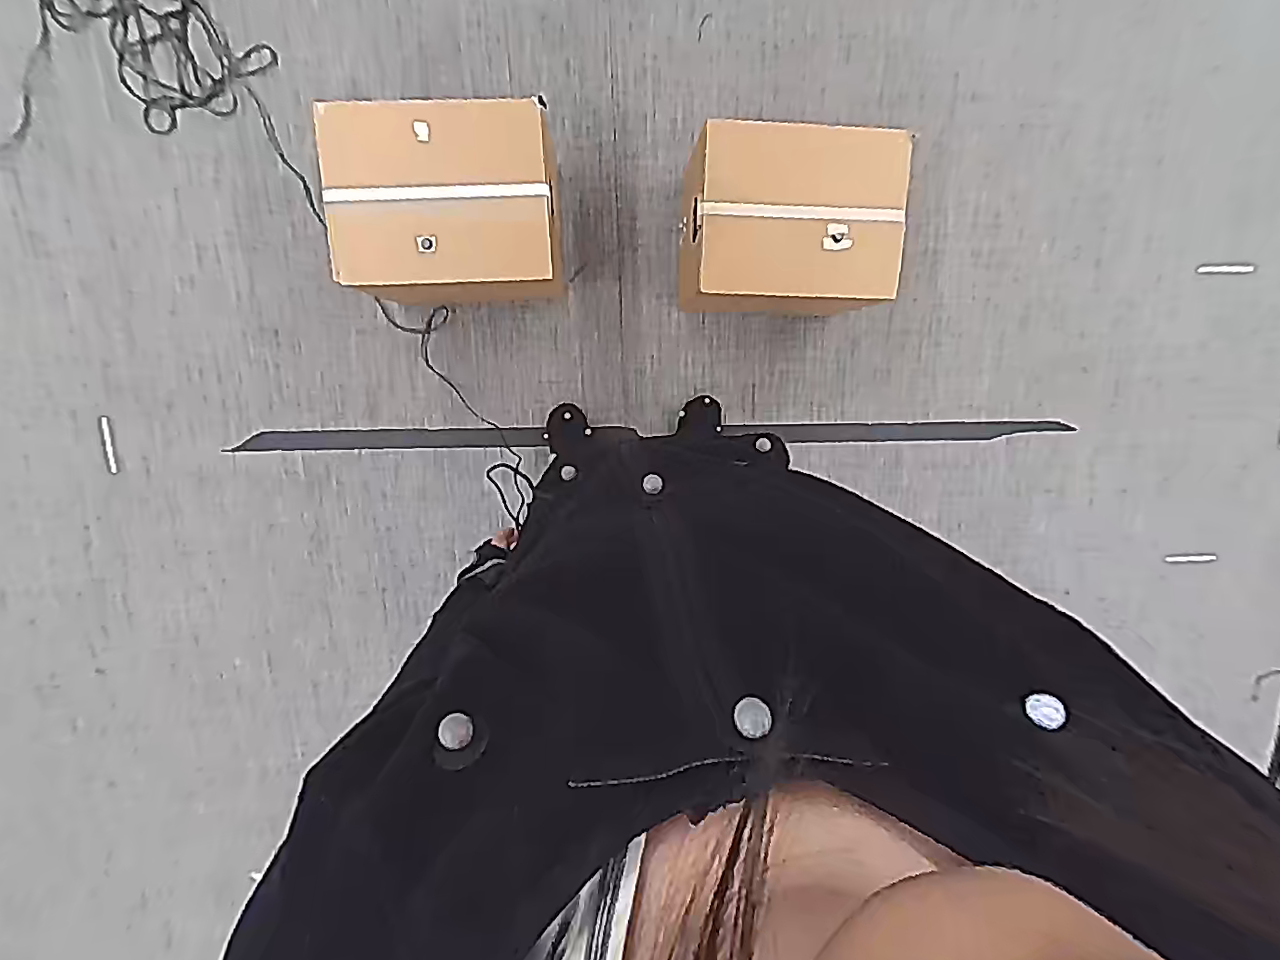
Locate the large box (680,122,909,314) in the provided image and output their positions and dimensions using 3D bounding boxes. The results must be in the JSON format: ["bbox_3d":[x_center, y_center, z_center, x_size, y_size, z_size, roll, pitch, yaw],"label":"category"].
[{"bbox_3d":[0.309,-0.550,1.203,0.408,0.320,0.320,1,101,-5],"label":"large box"}]
